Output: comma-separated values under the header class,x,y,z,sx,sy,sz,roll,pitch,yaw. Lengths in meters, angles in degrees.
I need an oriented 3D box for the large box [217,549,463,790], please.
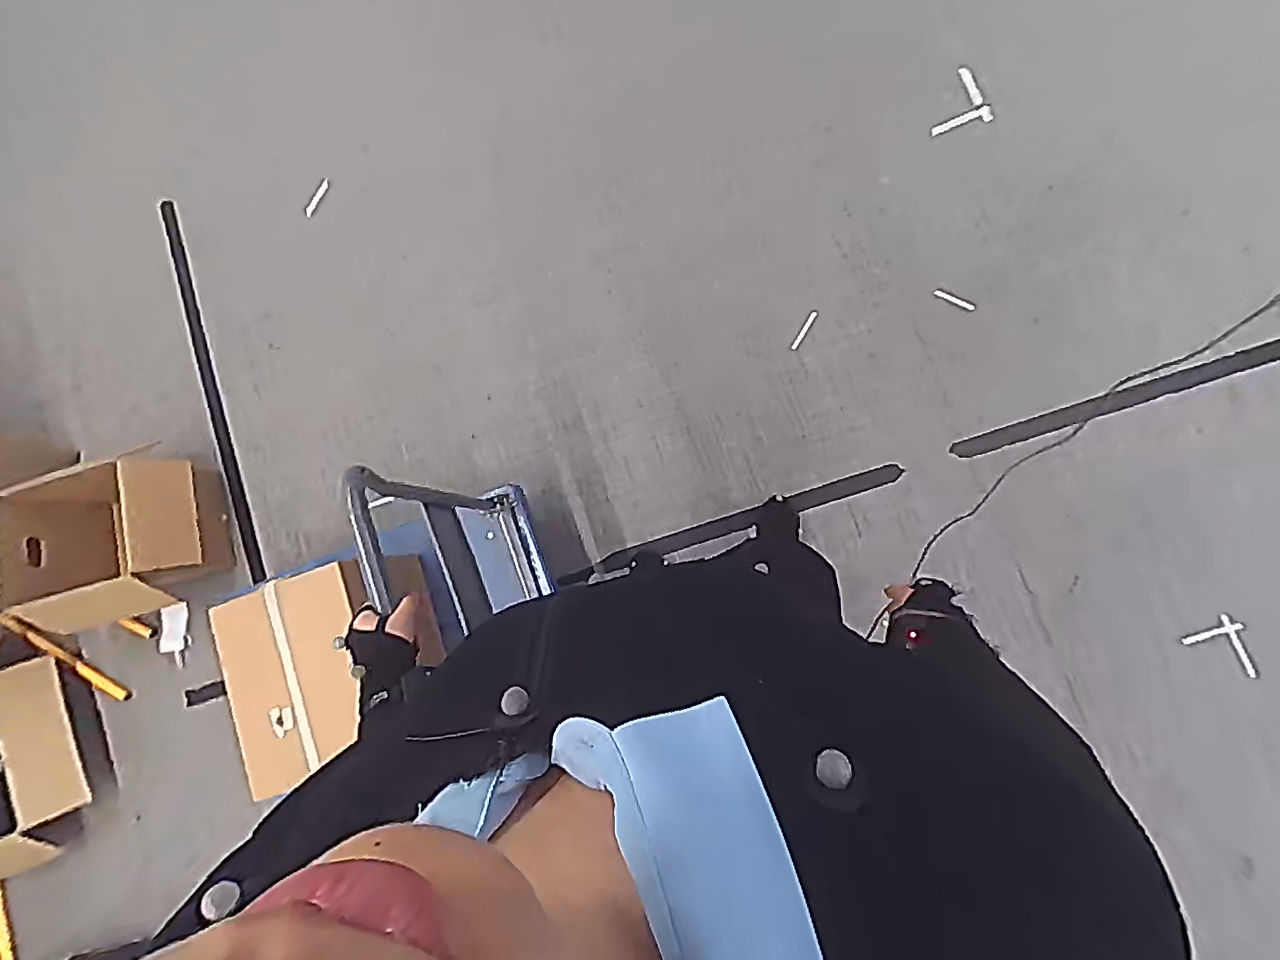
class,x,y,z,sx,sy,sz,roll,pitch,yaw
large box,-0.668,0.404,1.252,0.320,0.320,0.408,-21,84,6
